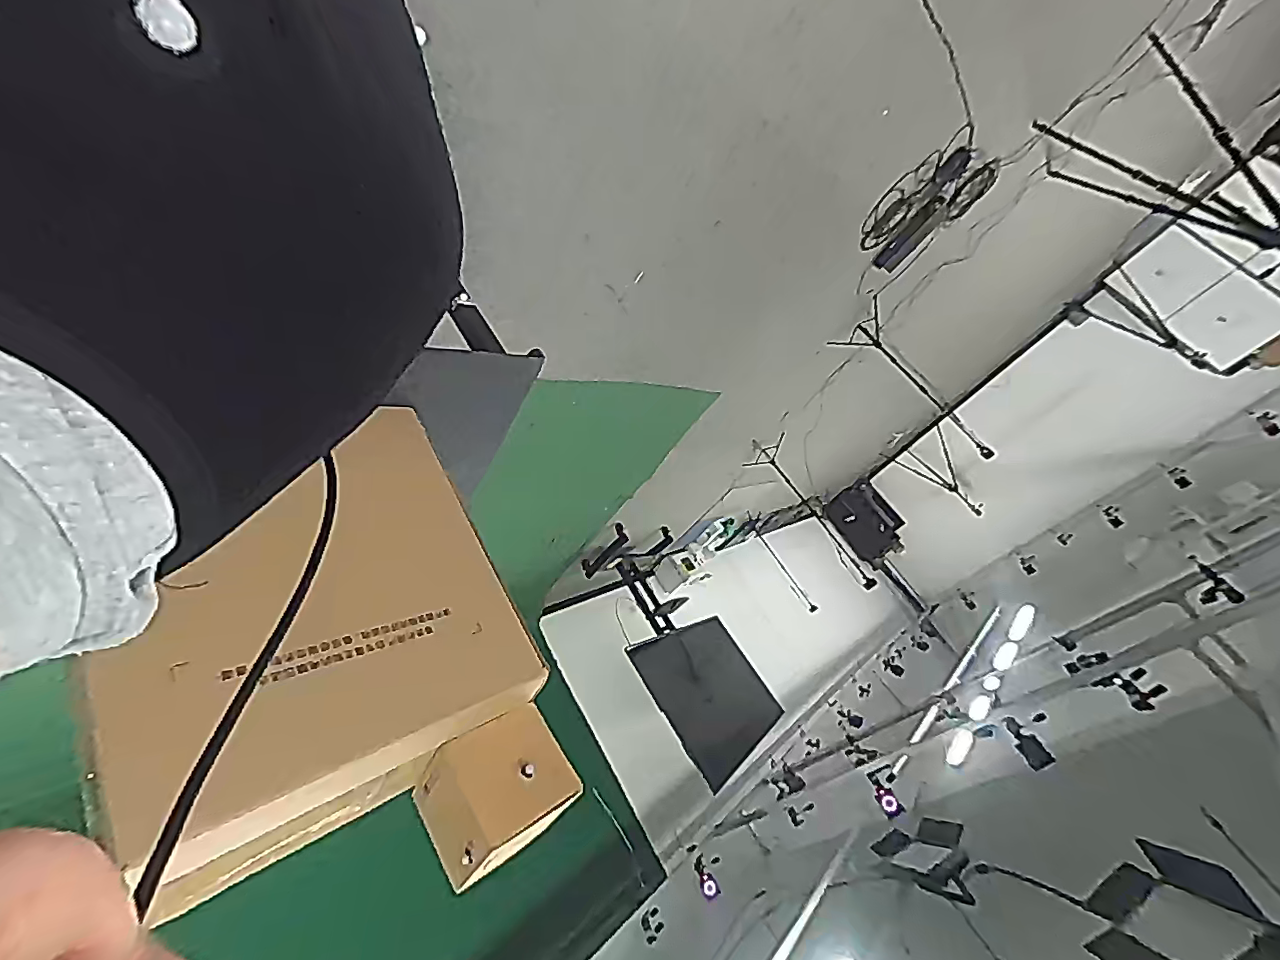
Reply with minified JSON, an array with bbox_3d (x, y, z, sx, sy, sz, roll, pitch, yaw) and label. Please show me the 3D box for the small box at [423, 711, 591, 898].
[{"bbox_3d":[-0.219,0.512,0.879,0.179,0.176,0.168,-8,138,-49],"label":"small box"}]
